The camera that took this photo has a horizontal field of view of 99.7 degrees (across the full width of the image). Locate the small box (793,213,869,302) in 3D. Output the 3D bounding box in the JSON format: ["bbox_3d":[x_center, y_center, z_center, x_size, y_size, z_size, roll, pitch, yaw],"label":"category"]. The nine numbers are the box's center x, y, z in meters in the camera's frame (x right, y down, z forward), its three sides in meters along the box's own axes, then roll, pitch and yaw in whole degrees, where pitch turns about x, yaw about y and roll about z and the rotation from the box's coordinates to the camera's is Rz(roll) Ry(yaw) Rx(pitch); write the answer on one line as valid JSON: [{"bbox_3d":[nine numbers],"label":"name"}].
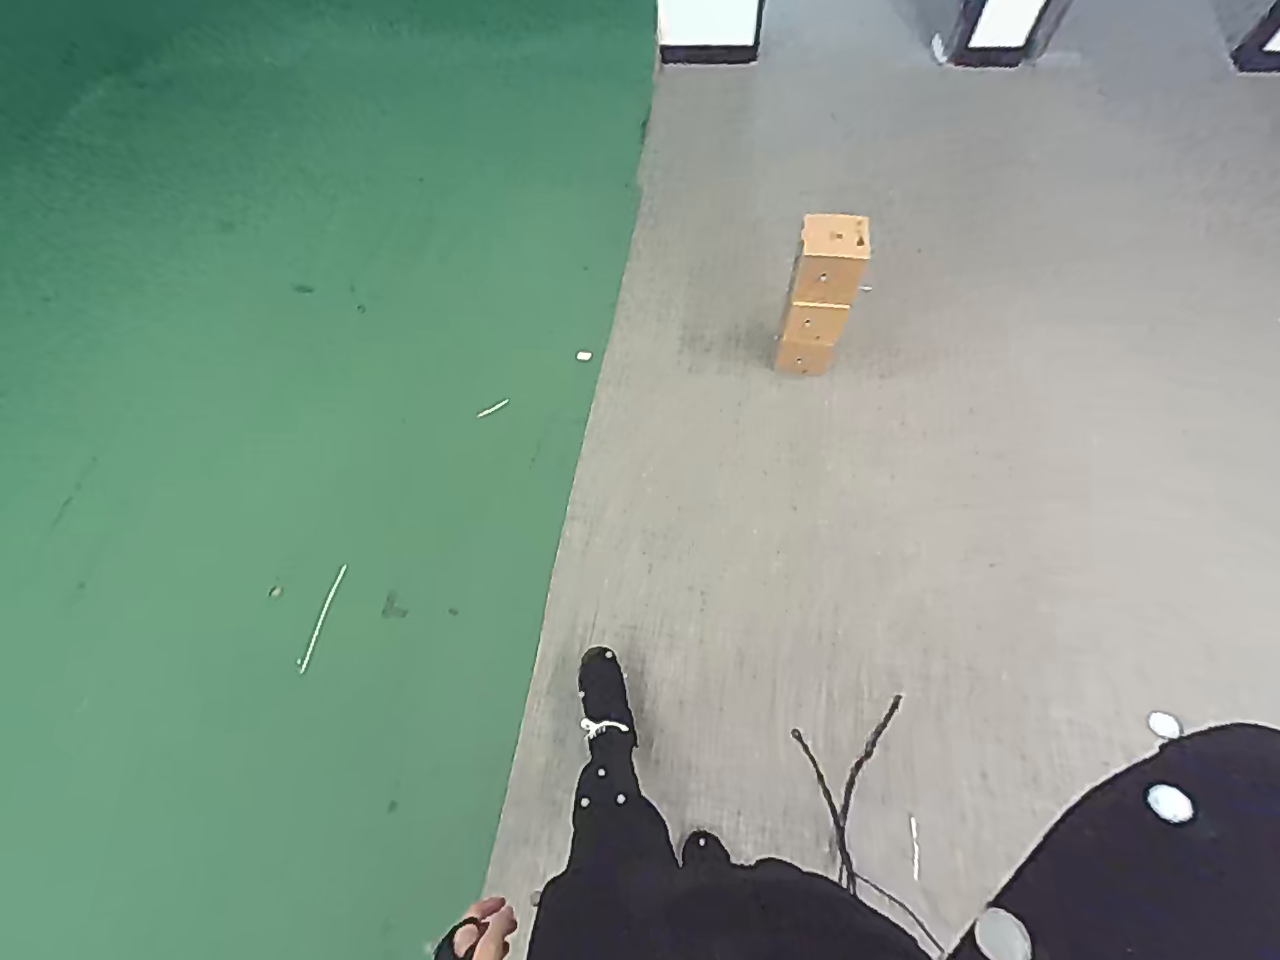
[{"bbox_3d":[0.534,-0.625,1.528,0.179,0.176,0.168,6,65,9],"label":"small box"}]

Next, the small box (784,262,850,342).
[{"bbox_3d":[0.545,-0.549,1.674,0.168,0.176,0.179,5,65,8],"label":"small box"}]

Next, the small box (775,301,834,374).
[{"bbox_3d":[0.554,-0.479,1.820,0.168,0.176,0.179,8,65,8],"label":"small box"}]
